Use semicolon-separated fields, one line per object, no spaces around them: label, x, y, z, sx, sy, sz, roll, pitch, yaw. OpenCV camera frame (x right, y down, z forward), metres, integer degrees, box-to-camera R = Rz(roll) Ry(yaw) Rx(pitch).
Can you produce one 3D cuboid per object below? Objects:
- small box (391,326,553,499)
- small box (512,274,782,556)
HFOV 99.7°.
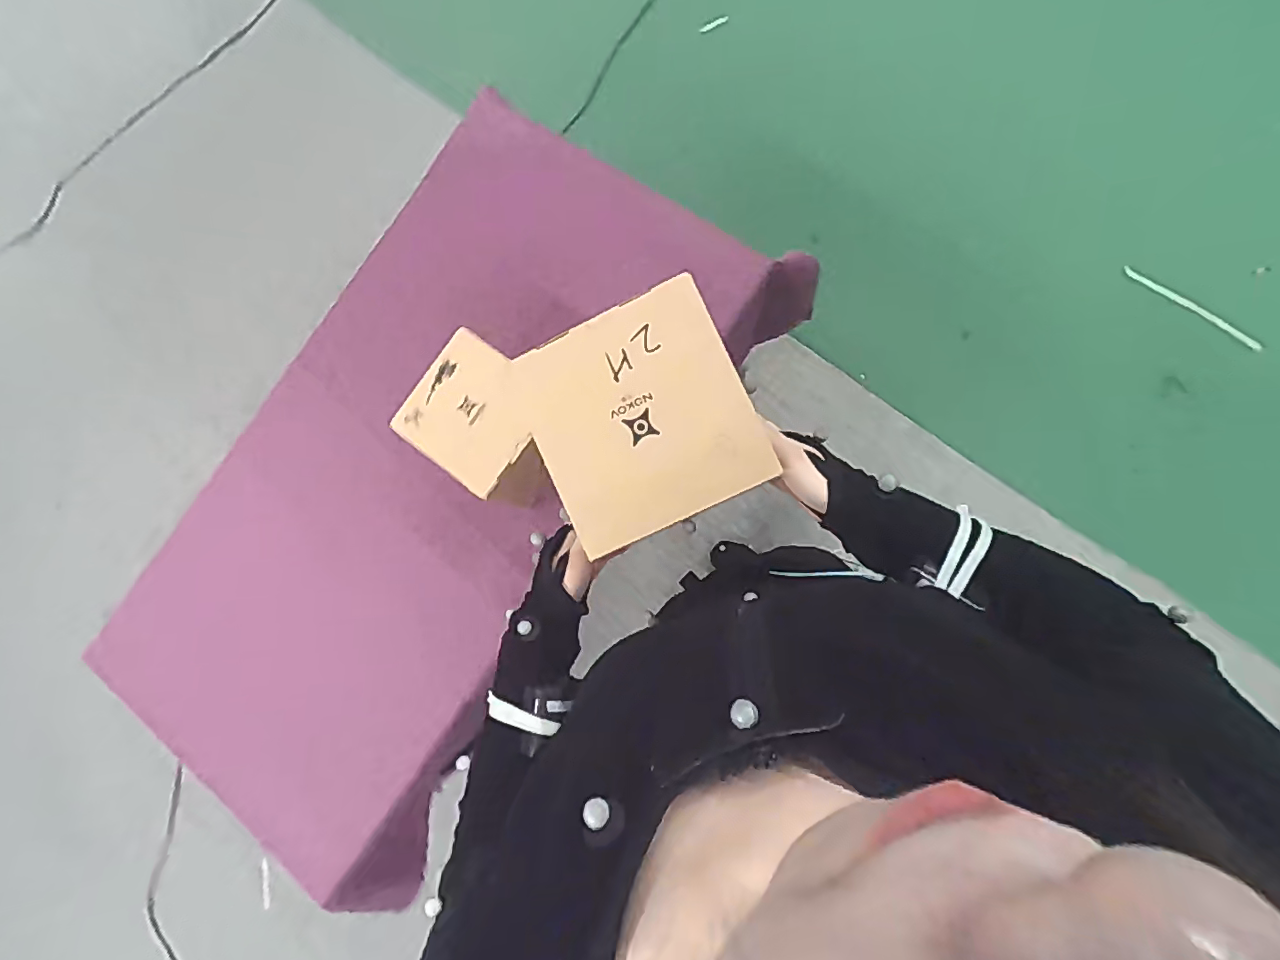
small box;-0.206;-0.085;0.783;0.179;0.176;0.168;36;90;10
small box;0.014;-0.049;0.499;0.168;0.176;0.179;-24;86;7
